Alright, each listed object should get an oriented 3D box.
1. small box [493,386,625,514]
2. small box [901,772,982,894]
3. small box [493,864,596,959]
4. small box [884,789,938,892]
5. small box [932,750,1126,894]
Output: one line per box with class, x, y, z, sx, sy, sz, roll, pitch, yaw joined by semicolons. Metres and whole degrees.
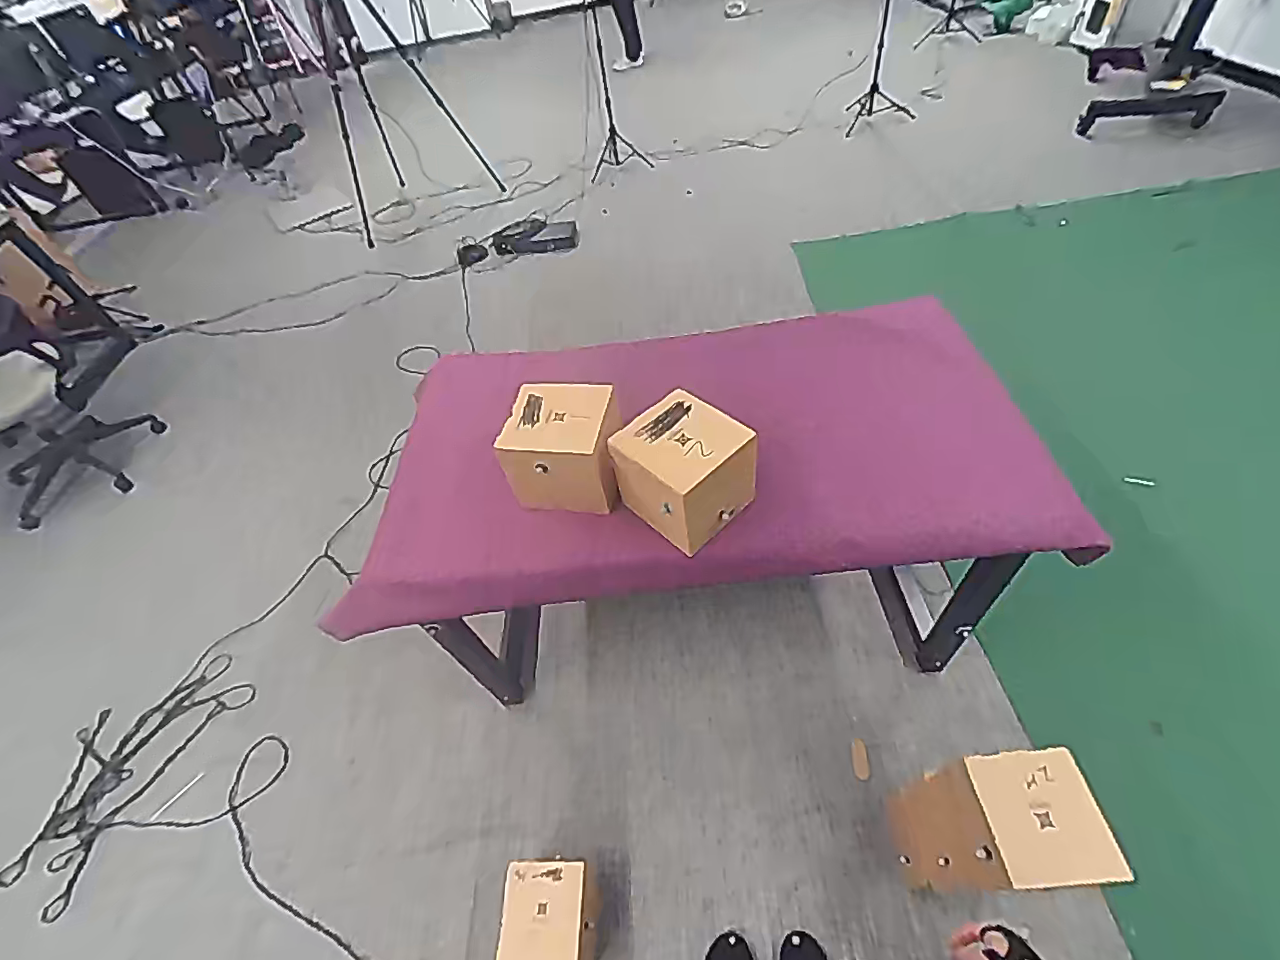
small box;-0.136;-0.053;0.984;0.179;0.176;0.168;4;51;12
small box;0.613;0.653;1.007;0.168;0.176;0.179;-8;51;3
small box;-0.192;0.920;1.134;0.168;0.176;0.179;-4;51;6
small box;0.629;0.754;1.132;0.179;0.176;0.168;-6;50;4
small box;0.607;0.555;0.874;0.168;0.176;0.179;-7;51;3
